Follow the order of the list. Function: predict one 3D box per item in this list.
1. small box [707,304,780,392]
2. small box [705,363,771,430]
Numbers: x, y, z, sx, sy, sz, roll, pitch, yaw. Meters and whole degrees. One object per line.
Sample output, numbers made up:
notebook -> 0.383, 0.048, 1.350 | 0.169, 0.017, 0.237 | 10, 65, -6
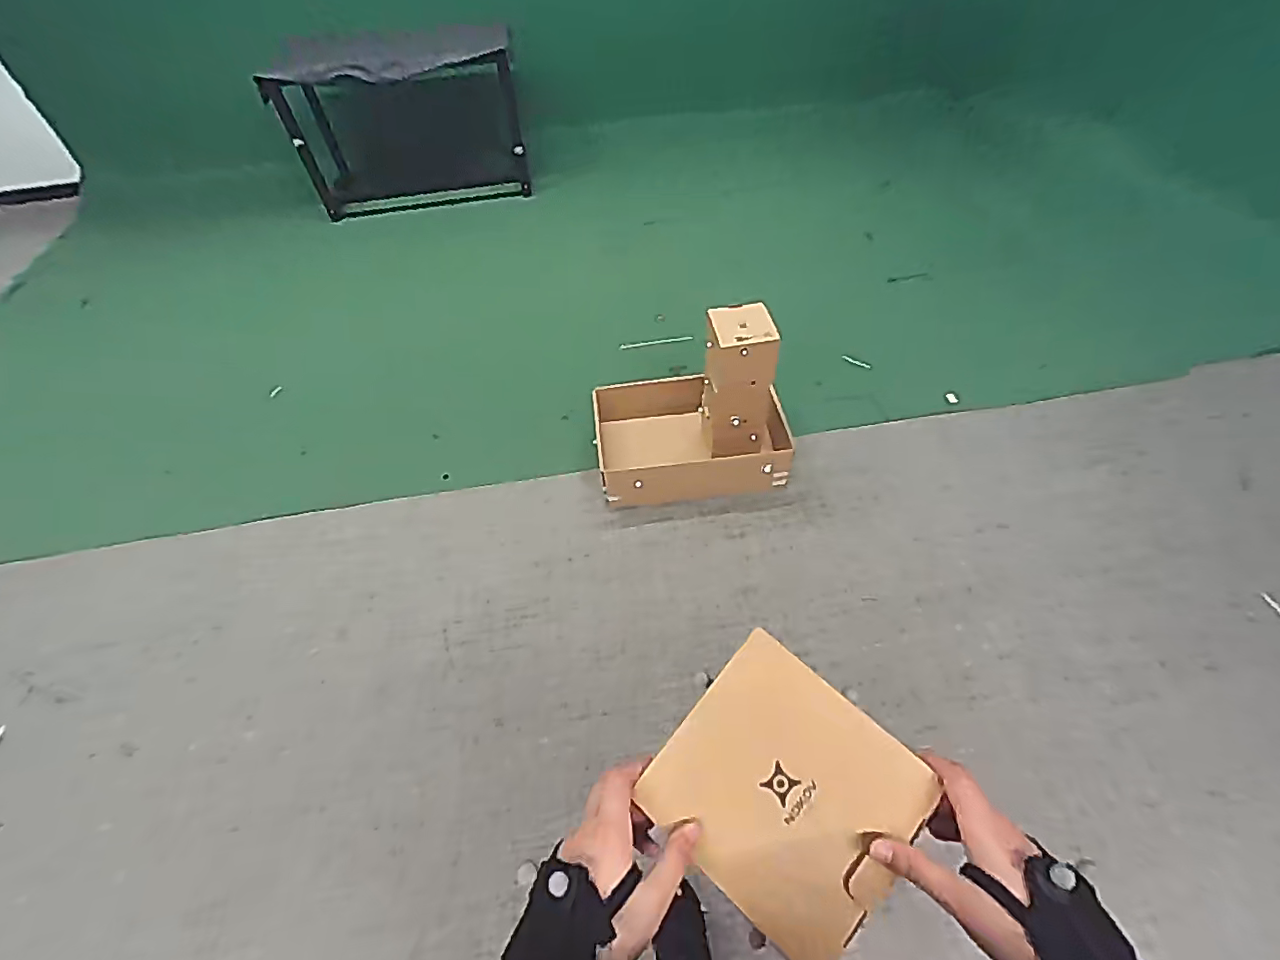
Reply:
small box -> 0.290, -0.380, 1.558 | 0.168, 0.176, 0.179 | -9, 51, -2
small box -> 0.299, -0.280, 1.689 | 0.168, 0.176, 0.179 | -6, 53, 0
